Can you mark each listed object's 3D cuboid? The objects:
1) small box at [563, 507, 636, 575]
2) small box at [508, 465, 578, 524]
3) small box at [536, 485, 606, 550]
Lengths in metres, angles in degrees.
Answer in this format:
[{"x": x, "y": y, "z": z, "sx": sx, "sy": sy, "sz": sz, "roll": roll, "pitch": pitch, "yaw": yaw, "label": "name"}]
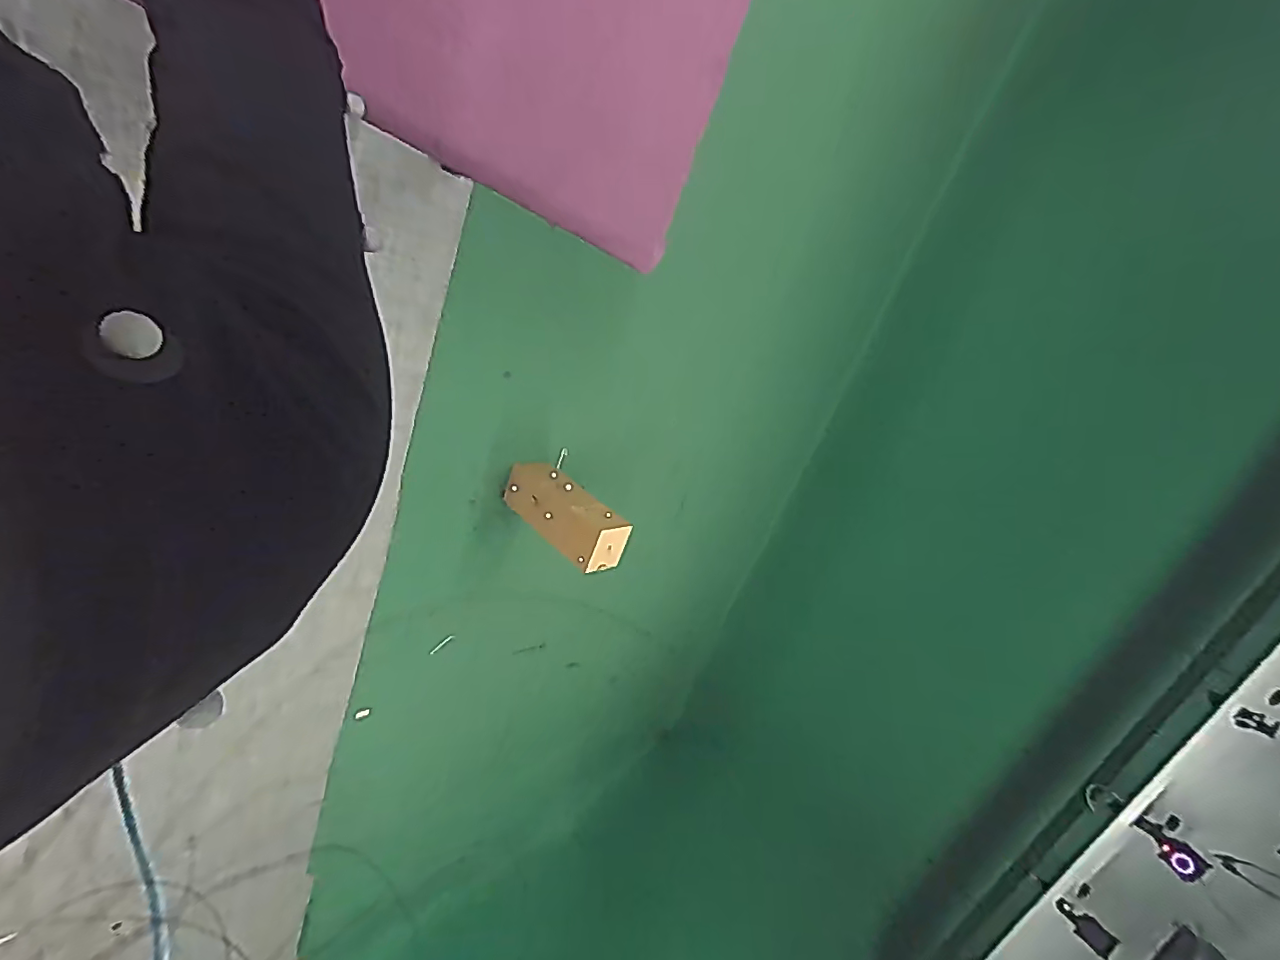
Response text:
[{"x": -0.148, "y": 0.207, "z": 1.911, "sx": 0.168, "sy": 0.176, "sz": 0.179, "roll": -4, "pitch": 122, "yaw": -50, "label": "small box"}, {"x": -0.375, "y": 0.051, "z": 2.087, "sx": 0.179, "sy": 0.176, "sz": 0.168, "roll": -2, "pitch": 119, "yaw": -50, "label": "small box"}, {"x": -0.260, "y": 0.134, "z": 2.000, "sx": 0.168, "sy": 0.176, "sz": 0.179, "roll": 0, "pitch": 119, "yaw": -53, "label": "small box"}]
